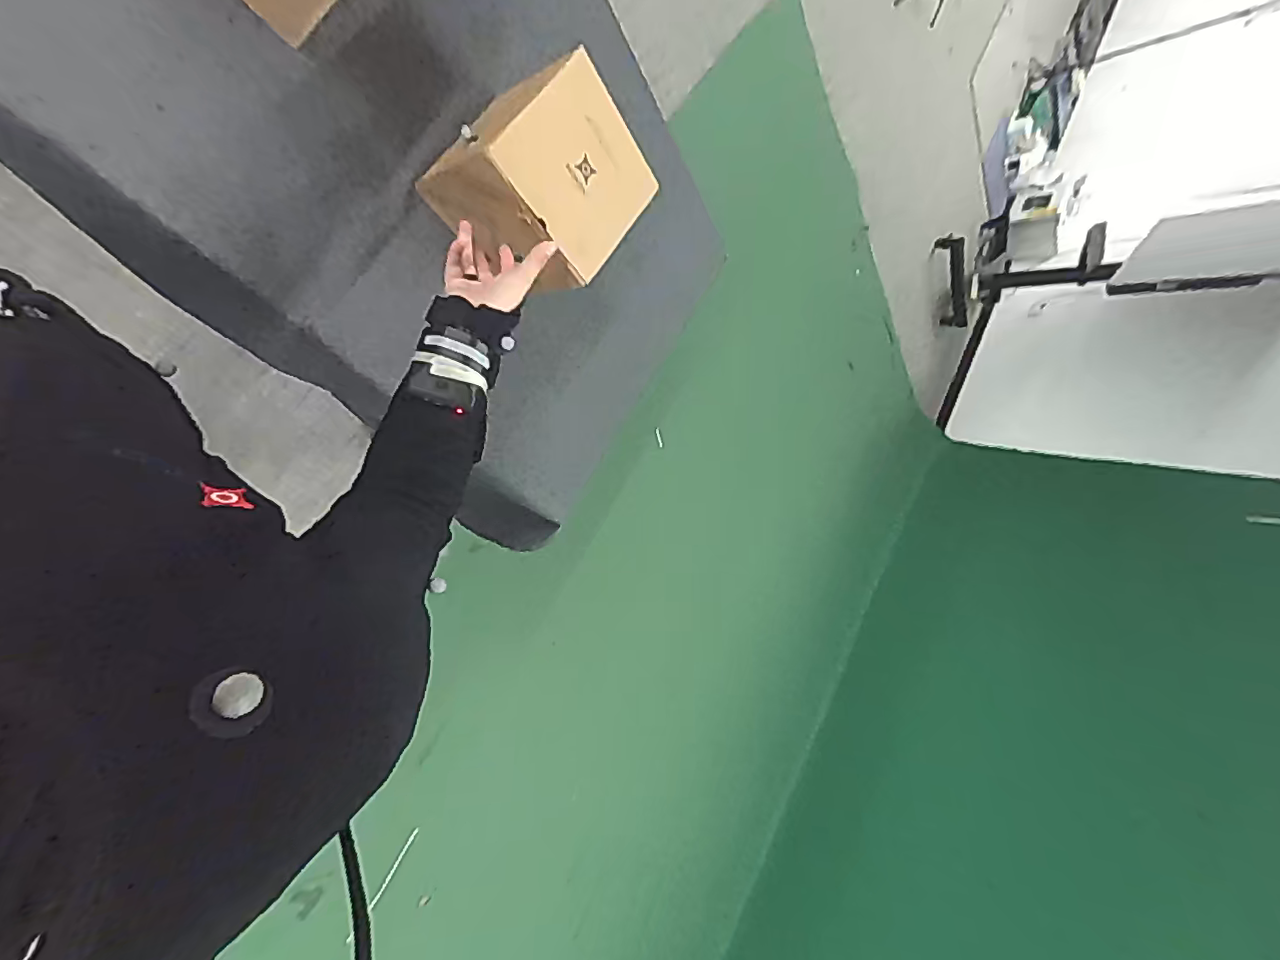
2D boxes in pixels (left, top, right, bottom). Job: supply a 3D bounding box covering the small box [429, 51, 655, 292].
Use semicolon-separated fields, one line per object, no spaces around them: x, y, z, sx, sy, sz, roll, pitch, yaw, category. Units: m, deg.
-0.120;-0.346;0.643;0.168;0.176;0.179;47;65;-42;small box
